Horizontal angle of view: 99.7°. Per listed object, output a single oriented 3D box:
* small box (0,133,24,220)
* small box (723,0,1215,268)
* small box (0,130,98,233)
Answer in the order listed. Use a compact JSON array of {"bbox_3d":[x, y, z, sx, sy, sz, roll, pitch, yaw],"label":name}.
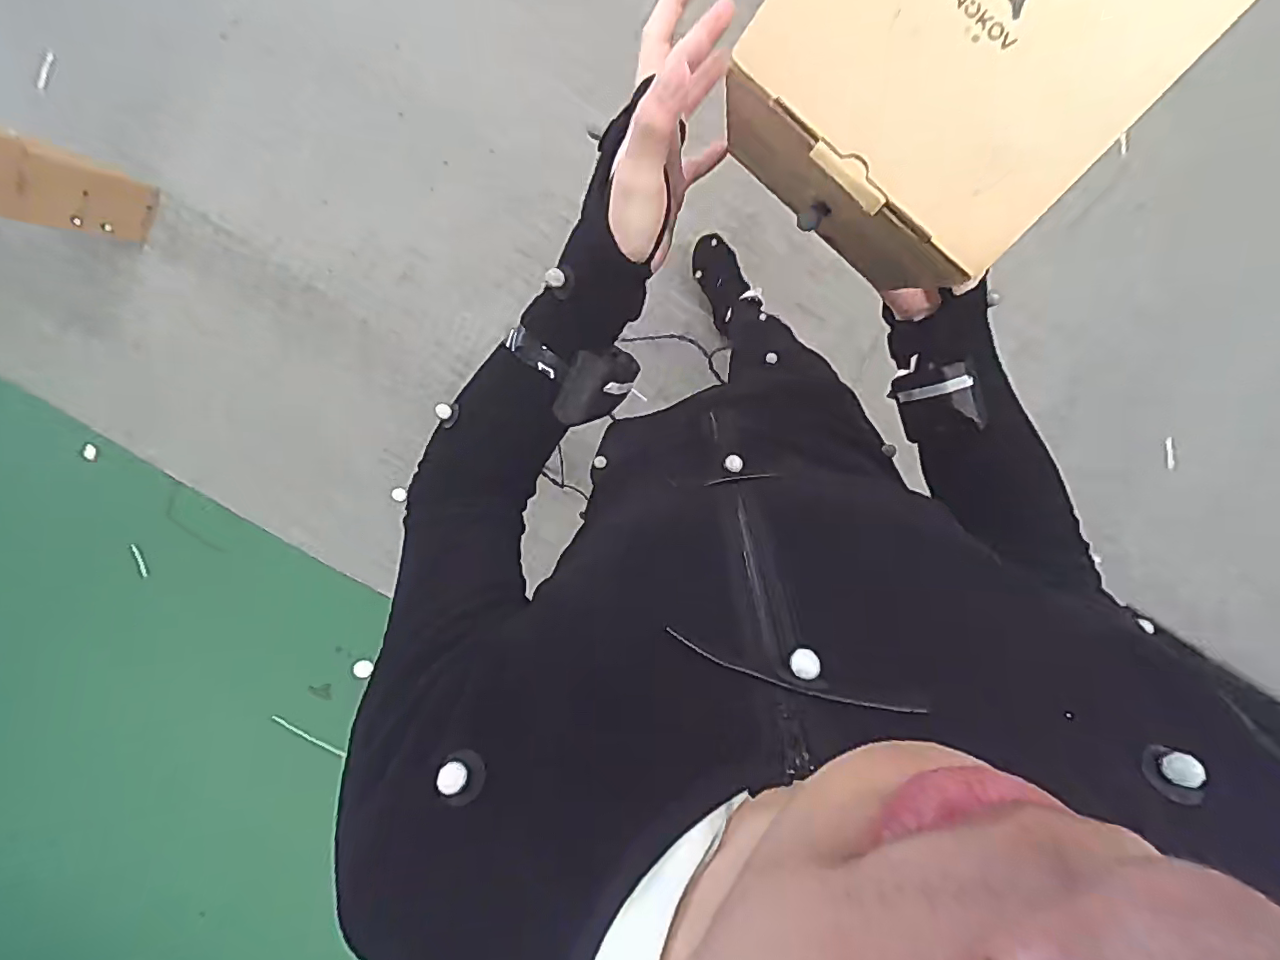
[{"bbox_3d":[-1.440,-0.666,1.104,0.168,0.176,0.179,31,102,-5],"label":"small box"},{"bbox_3d":[0.169,-0.247,0.316,0.168,0.176,0.179,39,110,-4],"label":"small box"},{"bbox_3d":[-1.446,-0.702,1.265,0.179,0.176,0.168,30,102,-4],"label":"small box"}]
